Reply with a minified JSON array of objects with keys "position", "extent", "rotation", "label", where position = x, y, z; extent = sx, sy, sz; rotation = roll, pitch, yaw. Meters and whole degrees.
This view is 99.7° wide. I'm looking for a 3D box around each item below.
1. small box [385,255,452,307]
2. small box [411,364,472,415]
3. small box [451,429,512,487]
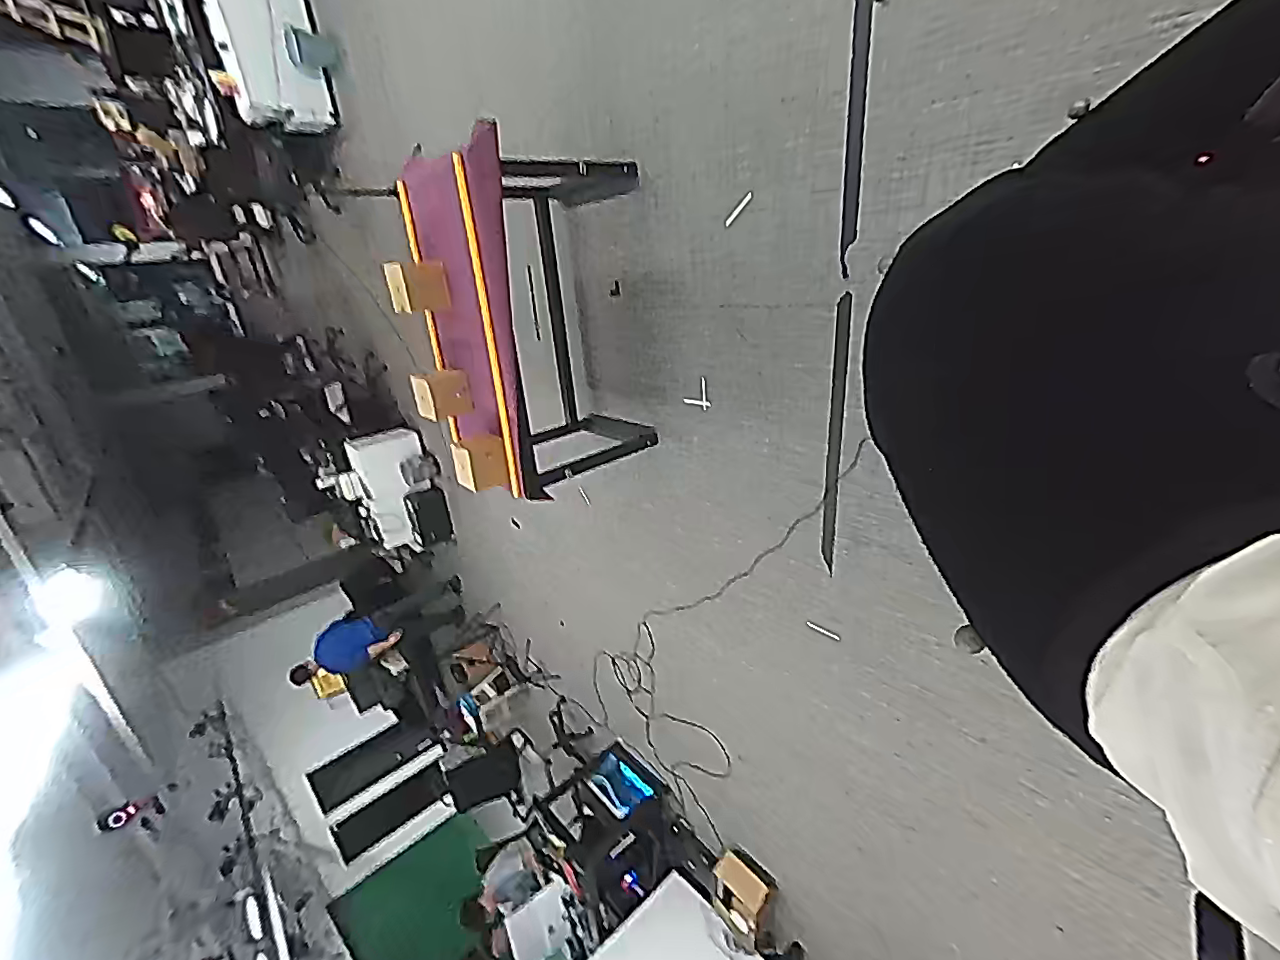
[{"position":[-0.852,-0.771,2.088],"extent":[0.168,0.176,0.179],"rotation":[20,124,43],"label":"small box"},{"position":[-0.824,-0.383,2.255],"extent":[0.179,0.176,0.168],"rotation":[20,124,43],"label":"small box"},{"position":[-0.633,-0.095,2.164],"extent":[0.168,0.176,0.179],"rotation":[20,121,46],"label":"small box"}]
